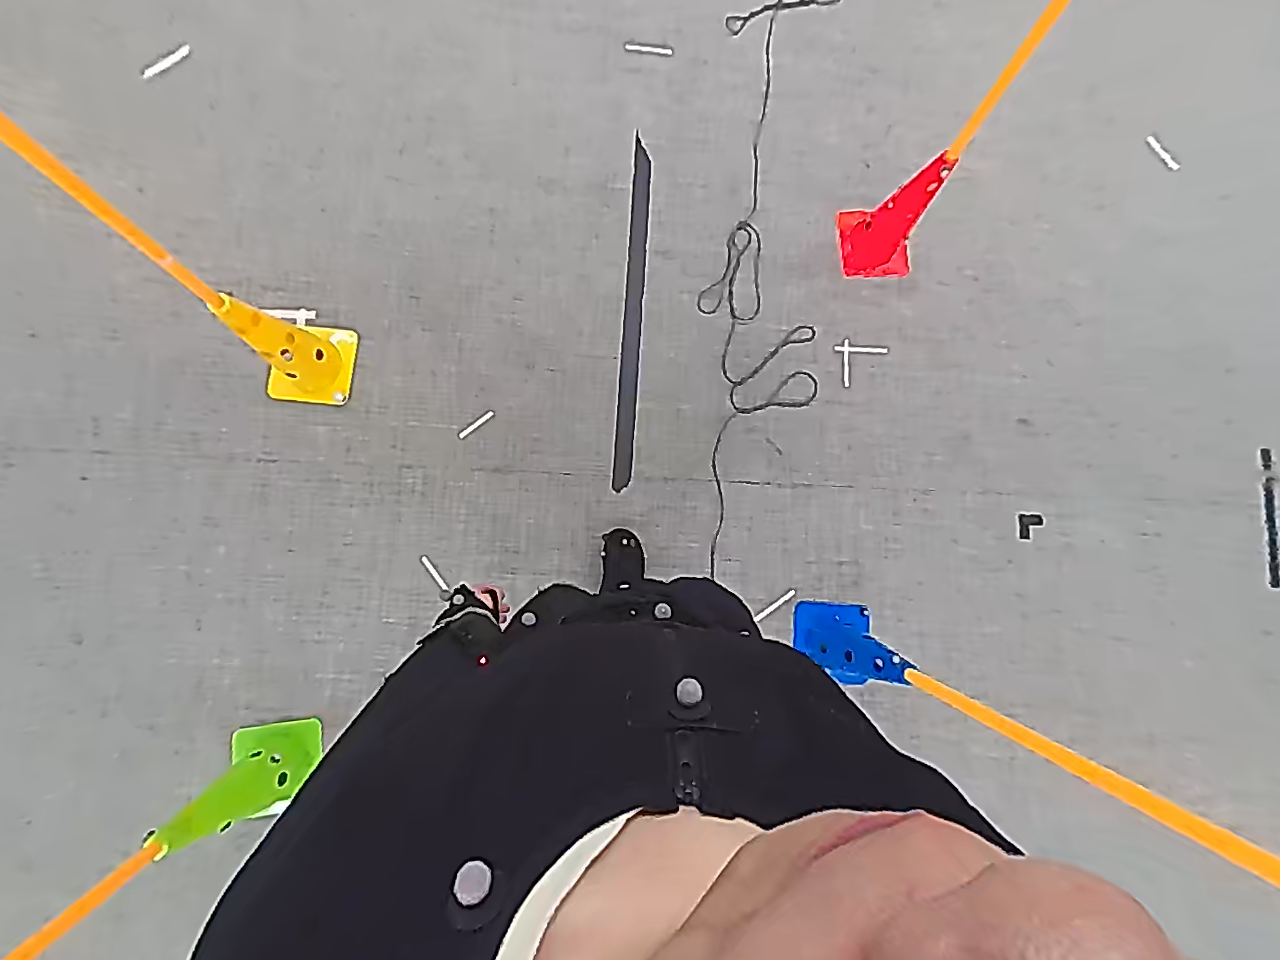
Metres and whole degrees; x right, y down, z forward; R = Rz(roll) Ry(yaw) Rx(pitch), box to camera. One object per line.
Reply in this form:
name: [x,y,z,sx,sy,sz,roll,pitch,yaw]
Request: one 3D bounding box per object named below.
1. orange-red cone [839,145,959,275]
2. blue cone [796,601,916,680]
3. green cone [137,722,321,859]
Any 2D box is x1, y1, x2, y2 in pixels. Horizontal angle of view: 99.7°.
orange-red cone: [0.677,-0.701,1.370,0.199,0.360,0.198,-2,82,-3]
blue cone: [0.504,0.387,1.225,0.193,0.380,0.192,6,81,-4]
green cone: [-0.828,0.646,1.078,0.200,0.368,0.202,-7,81,-5]
